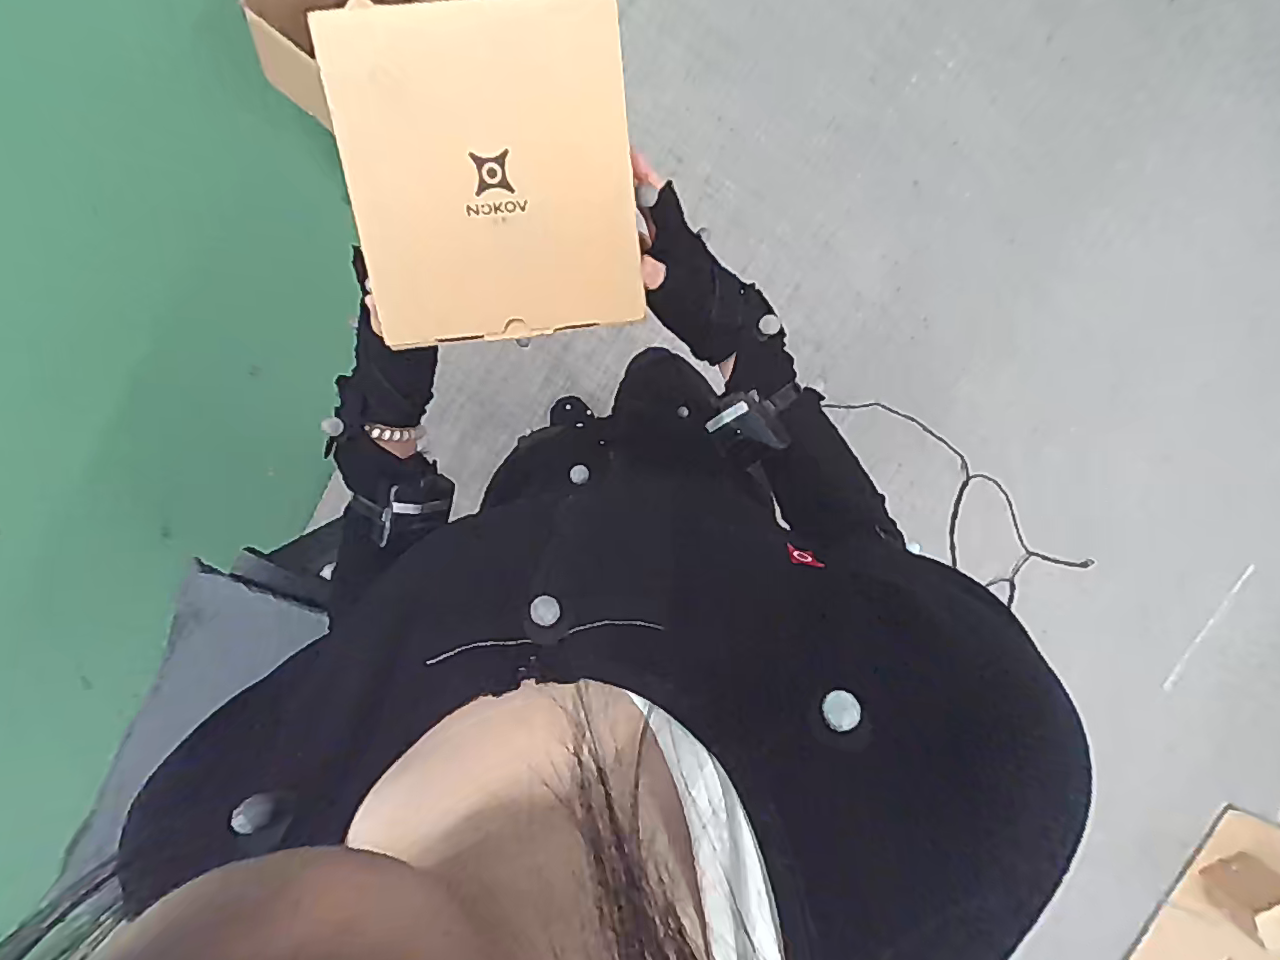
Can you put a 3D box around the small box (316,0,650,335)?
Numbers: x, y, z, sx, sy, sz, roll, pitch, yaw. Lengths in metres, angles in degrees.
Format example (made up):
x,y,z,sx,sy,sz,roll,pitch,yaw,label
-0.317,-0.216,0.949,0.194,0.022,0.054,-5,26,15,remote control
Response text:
x,y,z,sx,sy,sz,roll,pitch,yaw,label
-0.089,-0.205,0.388,0.168,0.176,0.179,-7,110,-3,small box

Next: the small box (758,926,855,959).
x,y,z,sx,sy,sz,roll,pitch,yaw,label
0.265,0.859,0.835,0.168,0.176,0.179,33,97,-9,small box
